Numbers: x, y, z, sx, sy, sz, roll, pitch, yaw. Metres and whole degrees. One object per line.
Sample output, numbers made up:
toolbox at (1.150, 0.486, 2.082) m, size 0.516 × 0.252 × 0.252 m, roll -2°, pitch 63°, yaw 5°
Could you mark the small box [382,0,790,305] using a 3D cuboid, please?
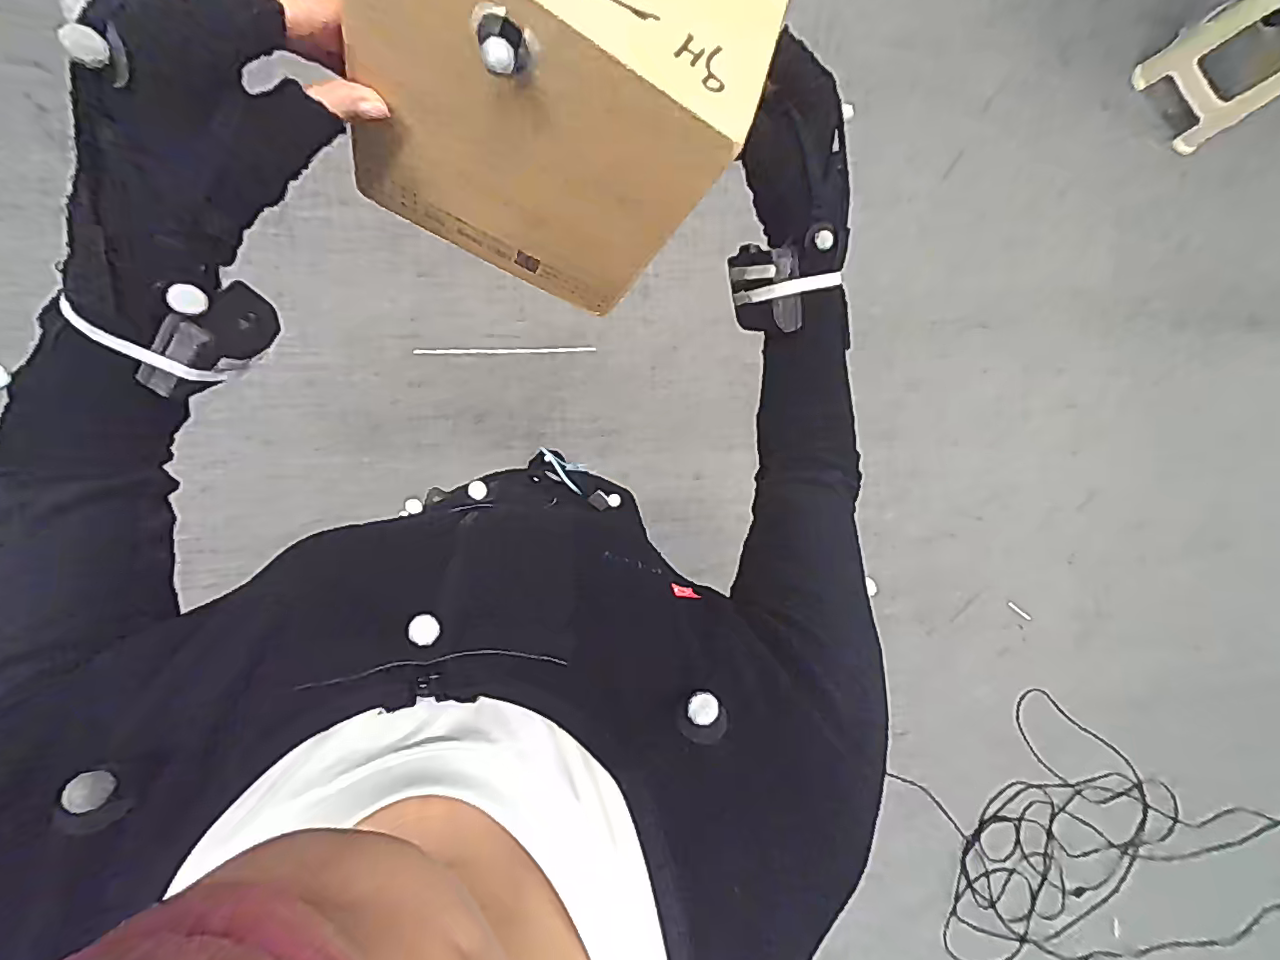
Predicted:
small box at (-0.034, -0.239, 0.307) m, size 0.168 × 0.176 × 0.179 m, roll 23°, pitch 71°, yaw -19°
